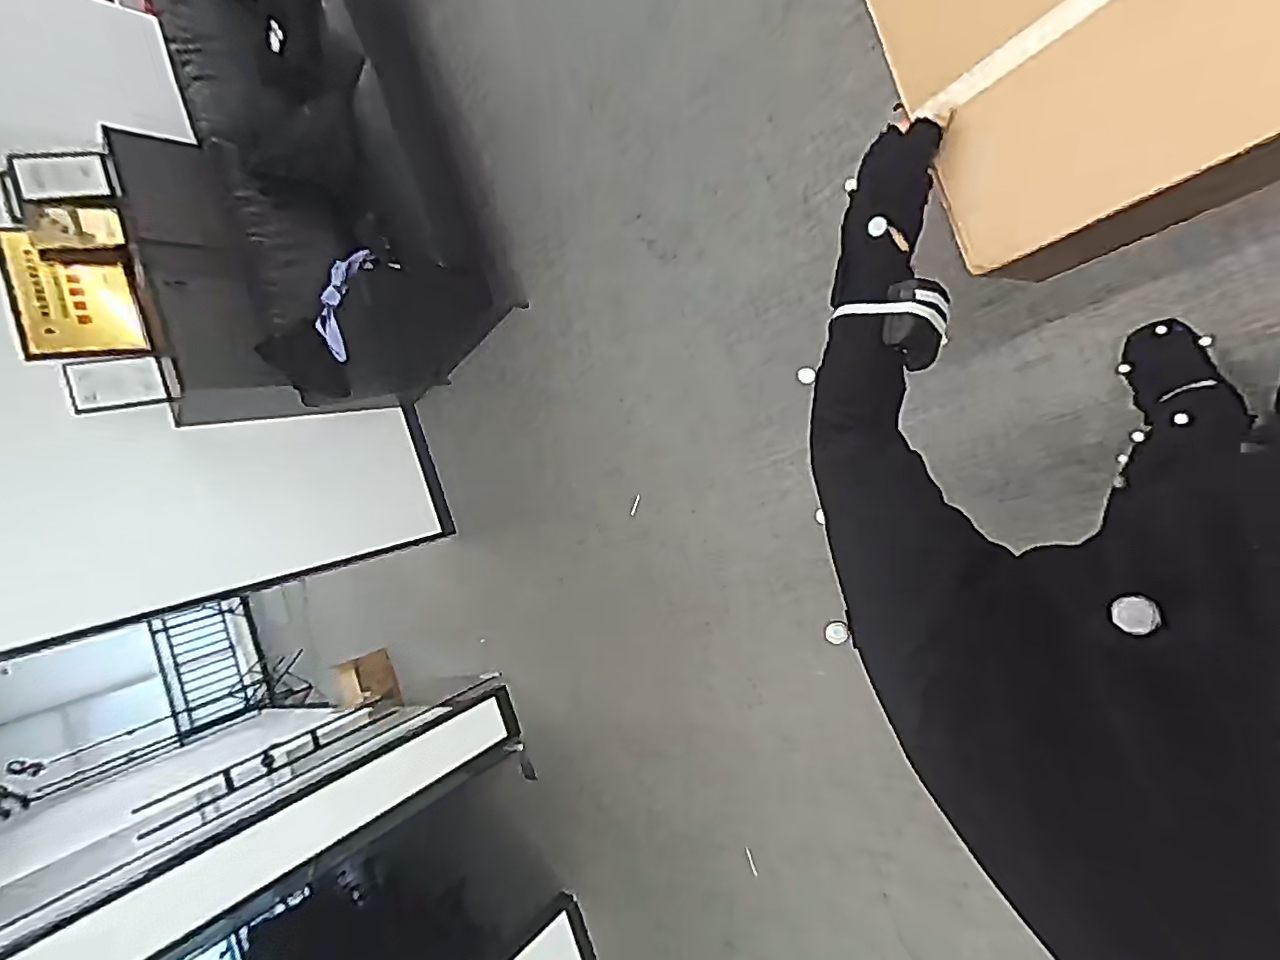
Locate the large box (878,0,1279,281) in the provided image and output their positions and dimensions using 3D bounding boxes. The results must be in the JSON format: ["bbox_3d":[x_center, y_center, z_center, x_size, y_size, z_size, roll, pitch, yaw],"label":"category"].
[{"bbox_3d":[0.504,-0.426,0.483,0.408,0.320,0.320,-21,88,46],"label":"large box"}]
